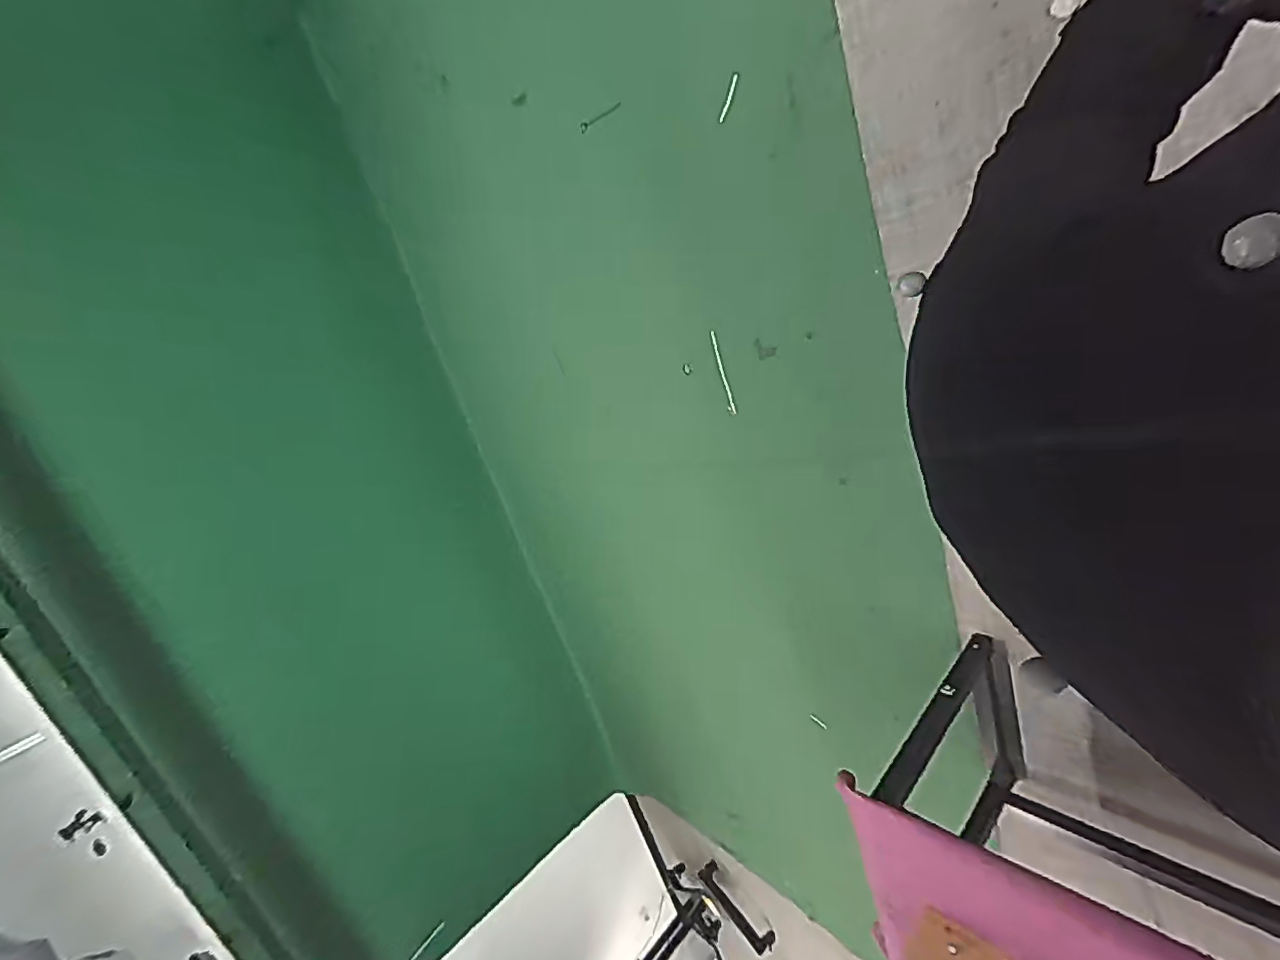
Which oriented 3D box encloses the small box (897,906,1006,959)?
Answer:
[{"bbox_3d":[0.664,1.067,1.135,0.168,0.176,0.179,-2,113,51],"label":"small box"}]
